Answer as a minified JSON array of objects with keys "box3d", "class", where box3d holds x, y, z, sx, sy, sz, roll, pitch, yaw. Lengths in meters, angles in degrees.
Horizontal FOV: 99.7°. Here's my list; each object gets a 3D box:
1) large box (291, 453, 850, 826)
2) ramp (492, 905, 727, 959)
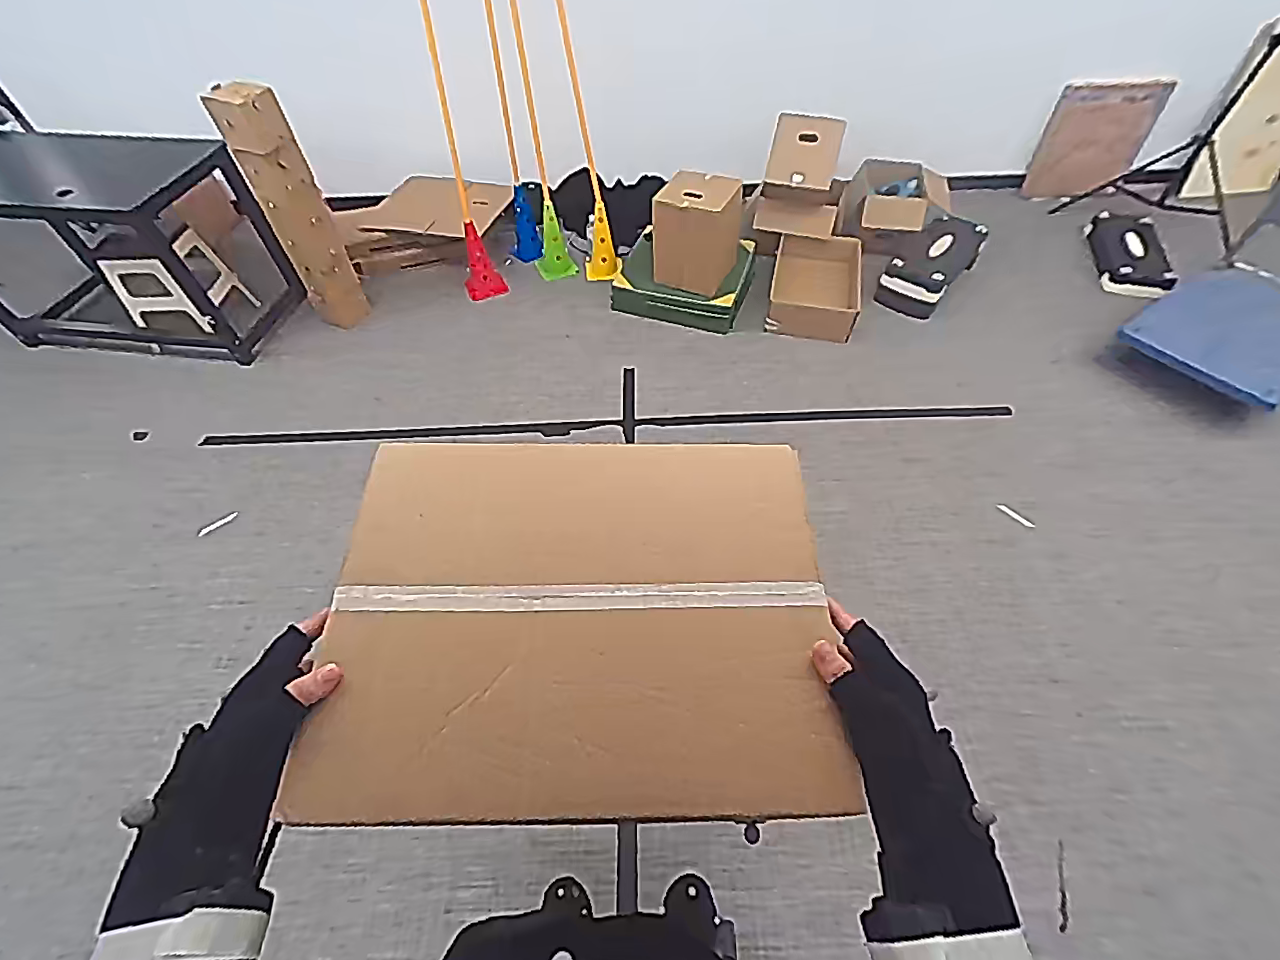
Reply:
[{"box3d":[-0.052,0.181,0.585,0.408,0.320,0.320,1,58,-2],"class":"large box"},{"box3d":[-0.053,1.361,0.931,0.509,0.206,0.991,-1,53,-3],"class":"ramp"}]
